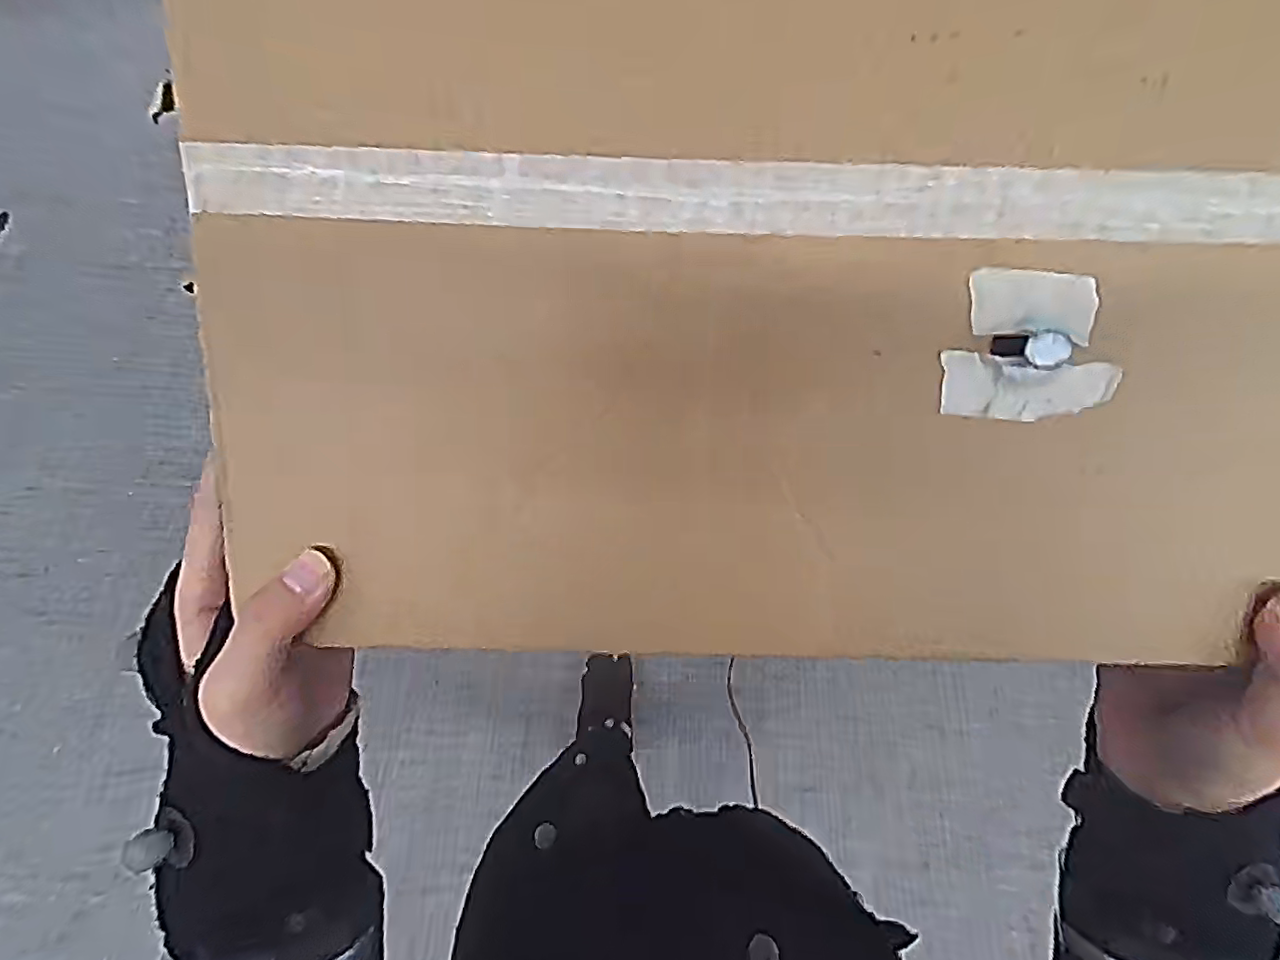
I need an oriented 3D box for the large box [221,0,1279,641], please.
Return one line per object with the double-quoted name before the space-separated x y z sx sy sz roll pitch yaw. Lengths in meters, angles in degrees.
"large box" 0.056 -0.112 0.335 0.408 0.320 0.320 1 99 -2
